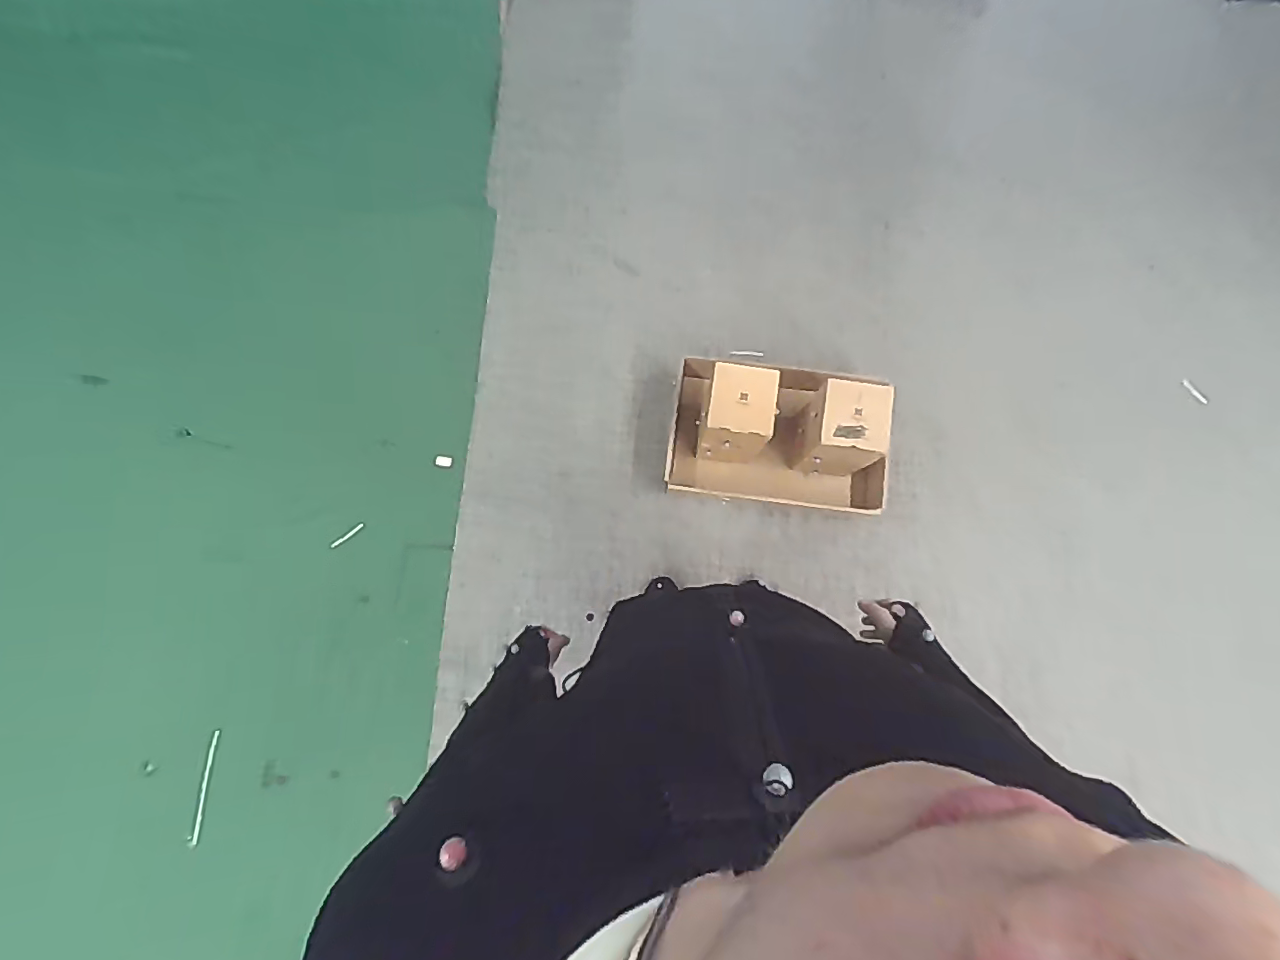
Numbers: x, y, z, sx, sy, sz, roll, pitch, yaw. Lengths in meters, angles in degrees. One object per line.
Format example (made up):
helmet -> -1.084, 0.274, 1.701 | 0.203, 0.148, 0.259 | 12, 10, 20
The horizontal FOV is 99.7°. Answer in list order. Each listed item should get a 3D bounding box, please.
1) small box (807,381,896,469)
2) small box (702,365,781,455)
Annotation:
small box -> 0.540, -0.135, 1.401 | 0.168, 0.176, 0.179 | 9, 79, 4
small box -> 0.260, -0.177, 1.417 | 0.168, 0.176, 0.179 | 8, 79, 2
